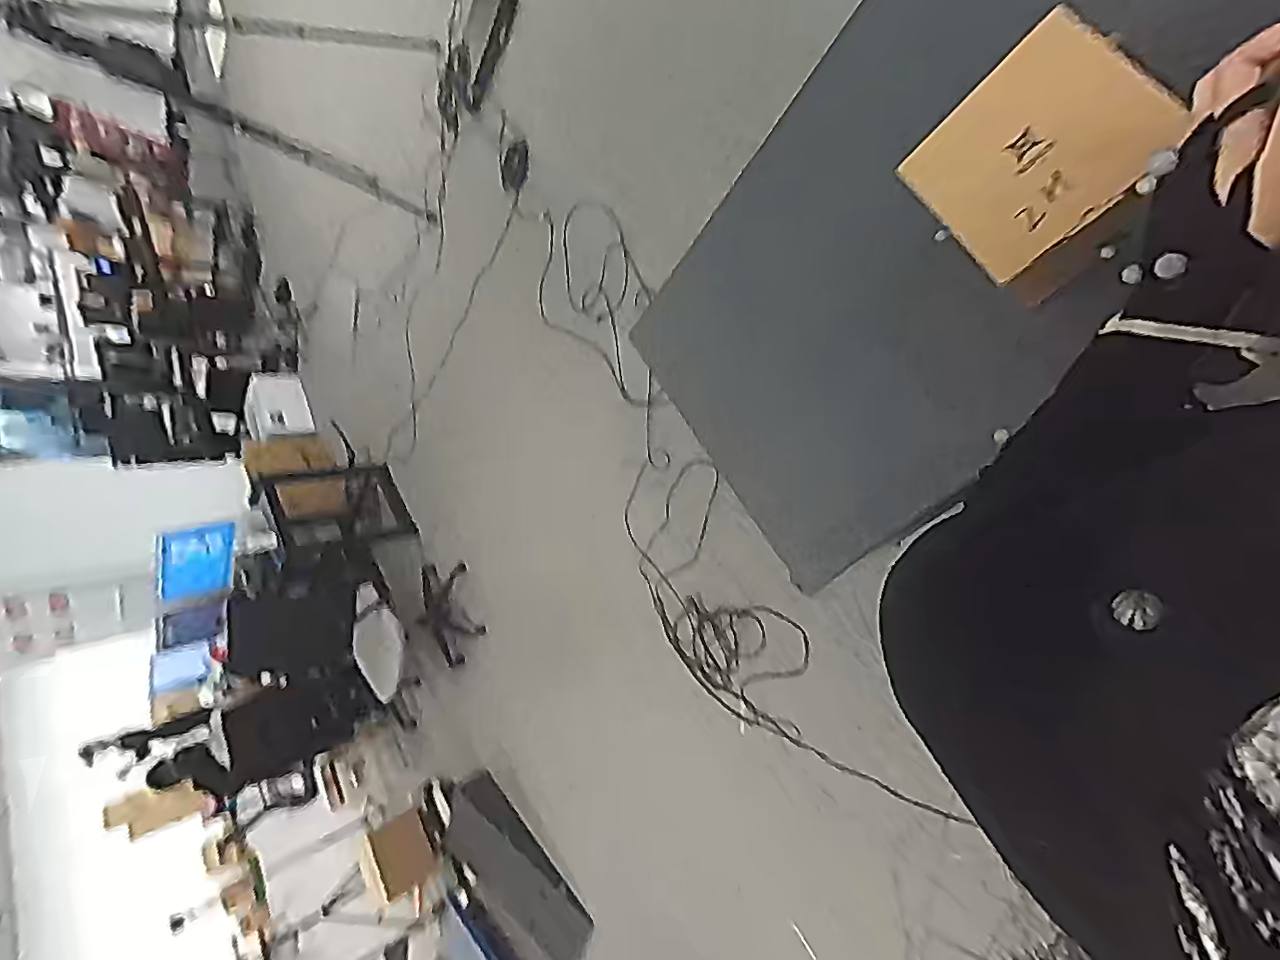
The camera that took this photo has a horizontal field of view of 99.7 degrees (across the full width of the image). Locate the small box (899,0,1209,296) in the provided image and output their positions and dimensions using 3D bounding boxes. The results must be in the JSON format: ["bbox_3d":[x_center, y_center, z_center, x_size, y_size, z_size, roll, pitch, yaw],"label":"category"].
[{"bbox_3d":[0.408,-0.313,0.549,0.168,0.176,0.179,-44,66,38],"label":"small box"}]
